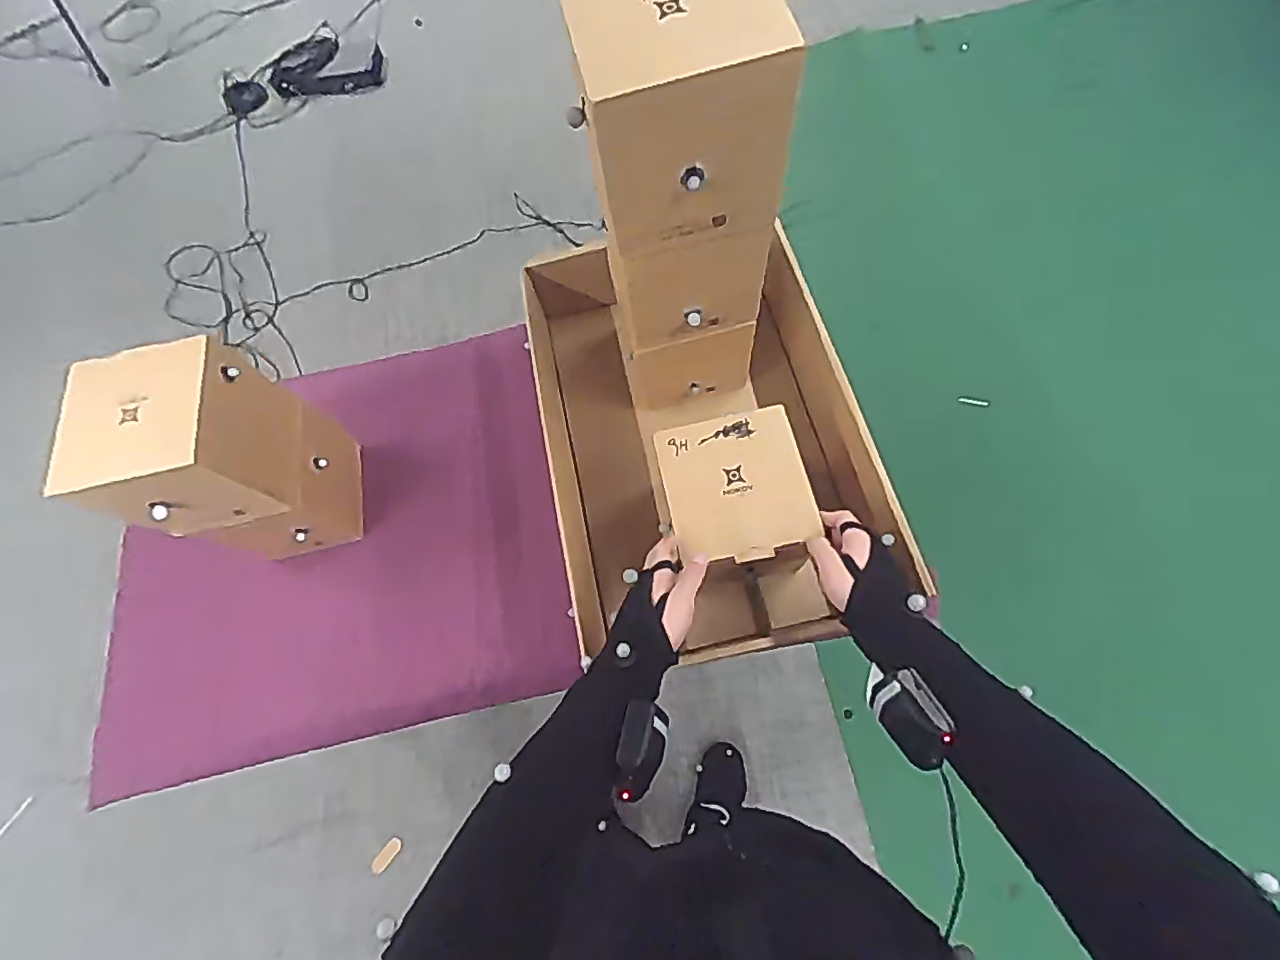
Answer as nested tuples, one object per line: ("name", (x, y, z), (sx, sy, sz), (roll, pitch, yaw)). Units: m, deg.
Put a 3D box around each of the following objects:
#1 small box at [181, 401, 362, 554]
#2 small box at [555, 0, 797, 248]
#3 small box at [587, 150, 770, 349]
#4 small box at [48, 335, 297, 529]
("small box", (-0.551, 0.006, 0.834), (0.168, 0.176, 0.179), (-13, 68, -1))
("small box", (0.029, -0.343, 0.500), (0.168, 0.176, 0.179), (-14, 70, 1))
("small box", (0.044, -0.290, 0.656), (0.168, 0.176, 0.179), (-15, 70, 1))
("small box", (-0.564, -0.047, 0.682), (0.168, 0.176, 0.179), (-13, 68, 0))
